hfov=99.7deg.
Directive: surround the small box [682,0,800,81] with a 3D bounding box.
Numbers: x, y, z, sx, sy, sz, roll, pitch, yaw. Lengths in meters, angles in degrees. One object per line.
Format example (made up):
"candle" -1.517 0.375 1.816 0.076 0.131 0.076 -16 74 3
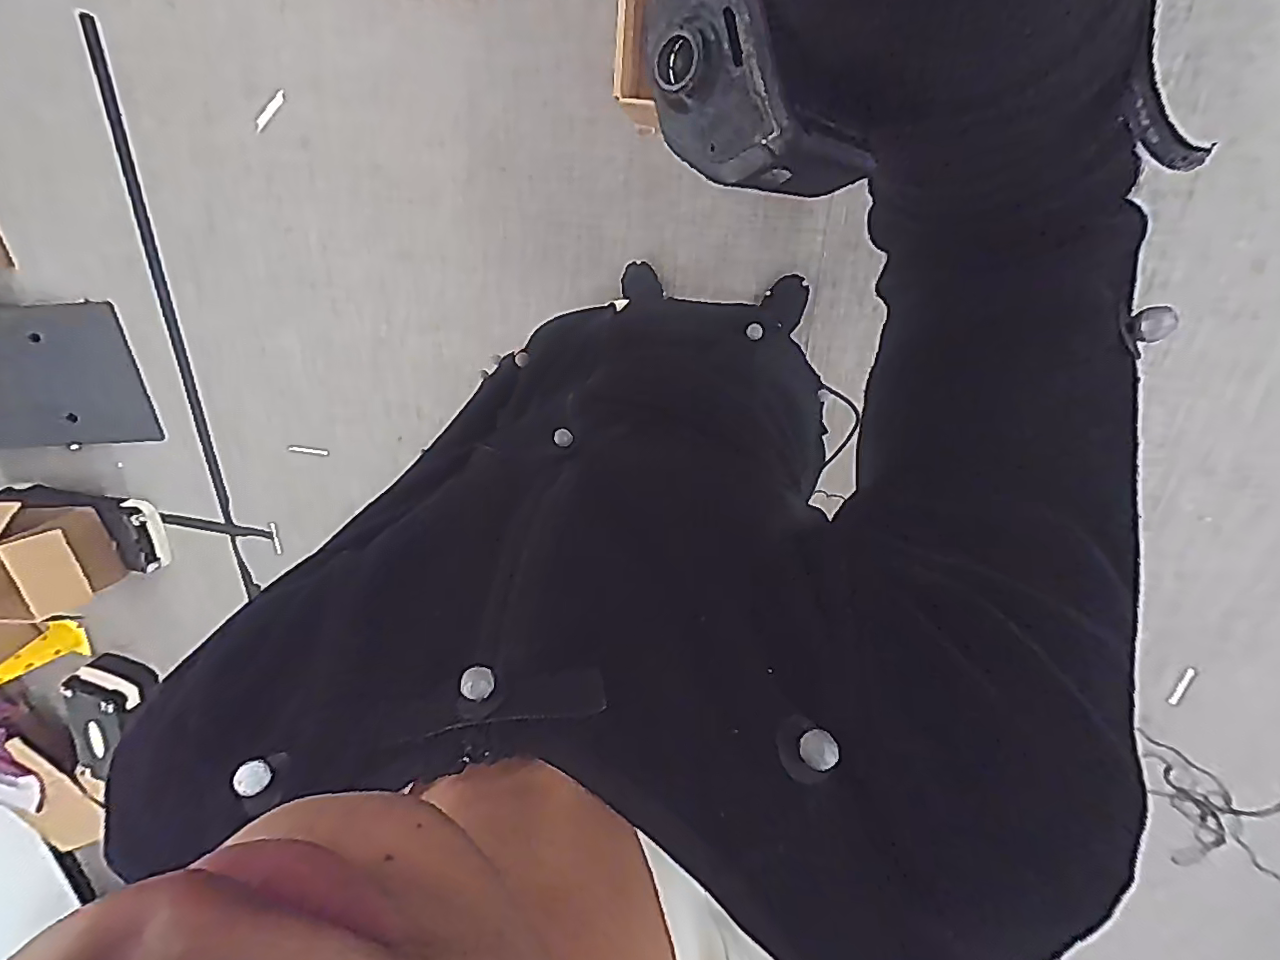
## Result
"small box" 0.154 -0.738 0.818 0.168 0.176 0.179 3 113 10
